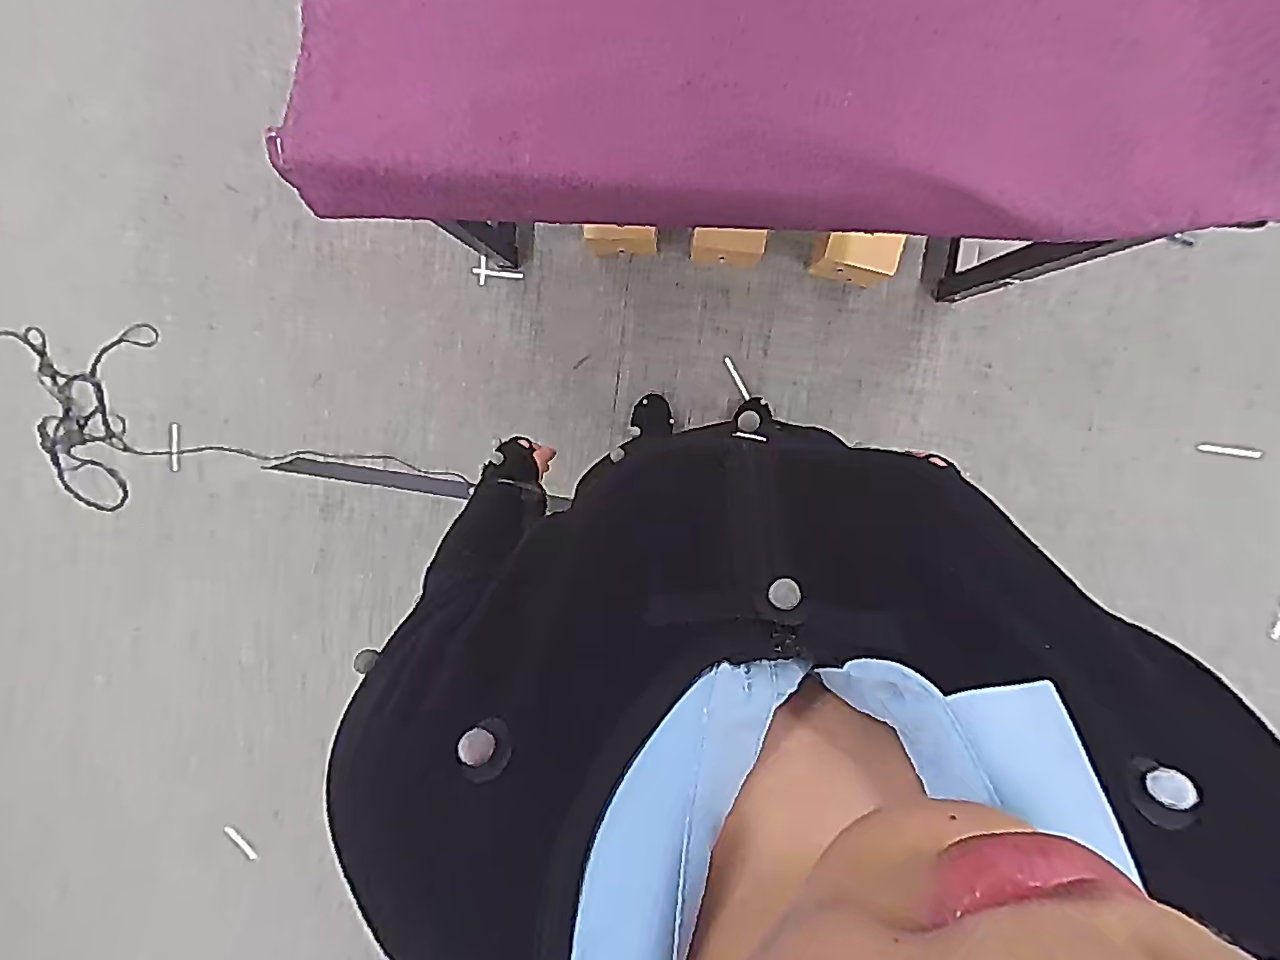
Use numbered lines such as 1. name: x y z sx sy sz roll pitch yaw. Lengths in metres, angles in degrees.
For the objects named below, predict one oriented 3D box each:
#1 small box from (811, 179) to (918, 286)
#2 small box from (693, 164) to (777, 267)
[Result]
1. small box: 0.525 -0.580 1.294 0.168 0.176 0.179 15 100 1
2. small box: 0.220 -0.627 1.303 0.168 0.176 0.179 8 100 2
